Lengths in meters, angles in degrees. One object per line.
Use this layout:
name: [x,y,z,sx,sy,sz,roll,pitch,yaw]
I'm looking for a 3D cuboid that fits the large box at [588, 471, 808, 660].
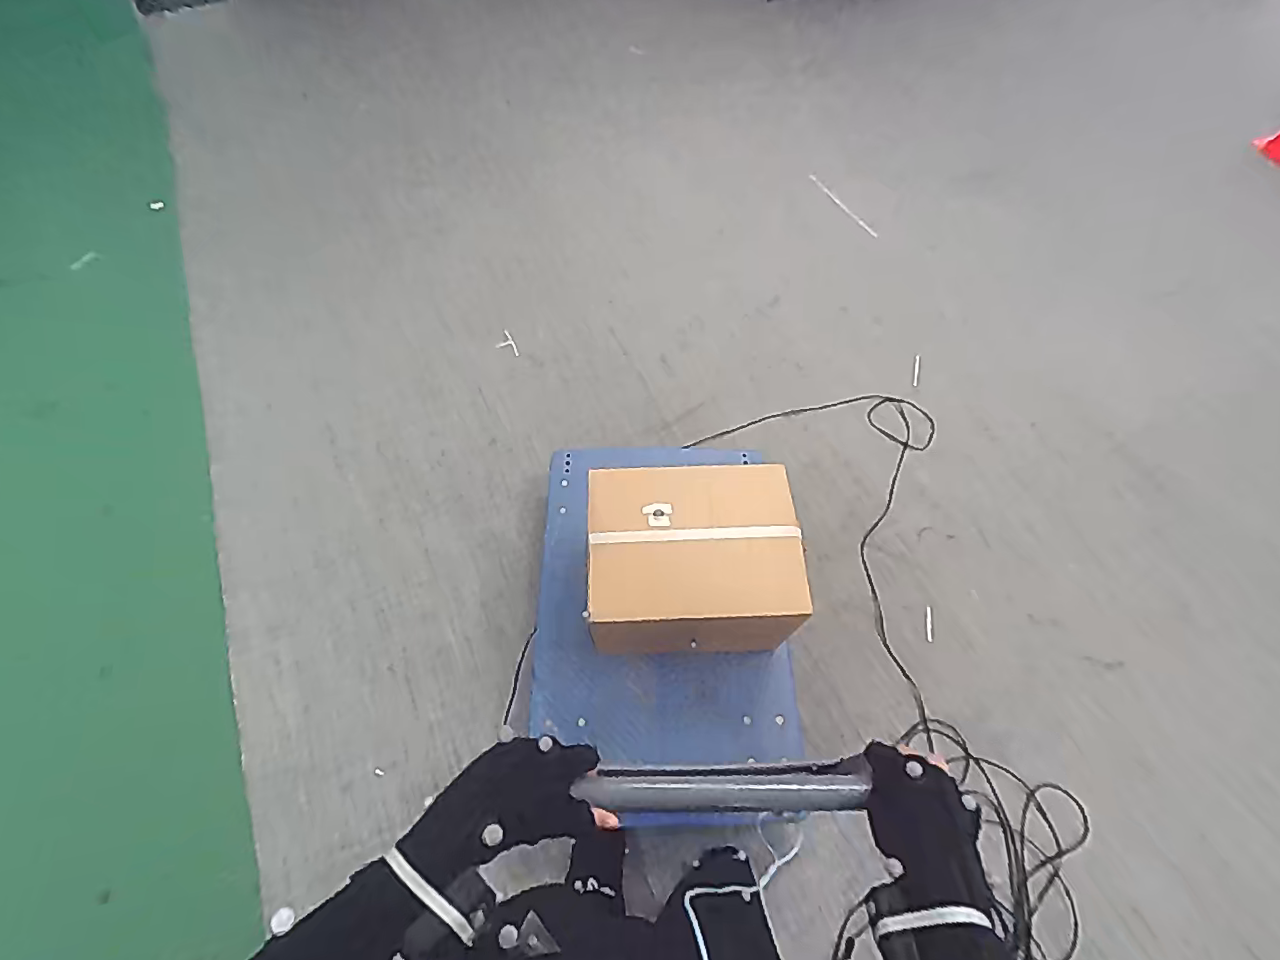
large box: [0.103,0.198,1.173,0.408,0.320,0.320,-3,60,-1]
